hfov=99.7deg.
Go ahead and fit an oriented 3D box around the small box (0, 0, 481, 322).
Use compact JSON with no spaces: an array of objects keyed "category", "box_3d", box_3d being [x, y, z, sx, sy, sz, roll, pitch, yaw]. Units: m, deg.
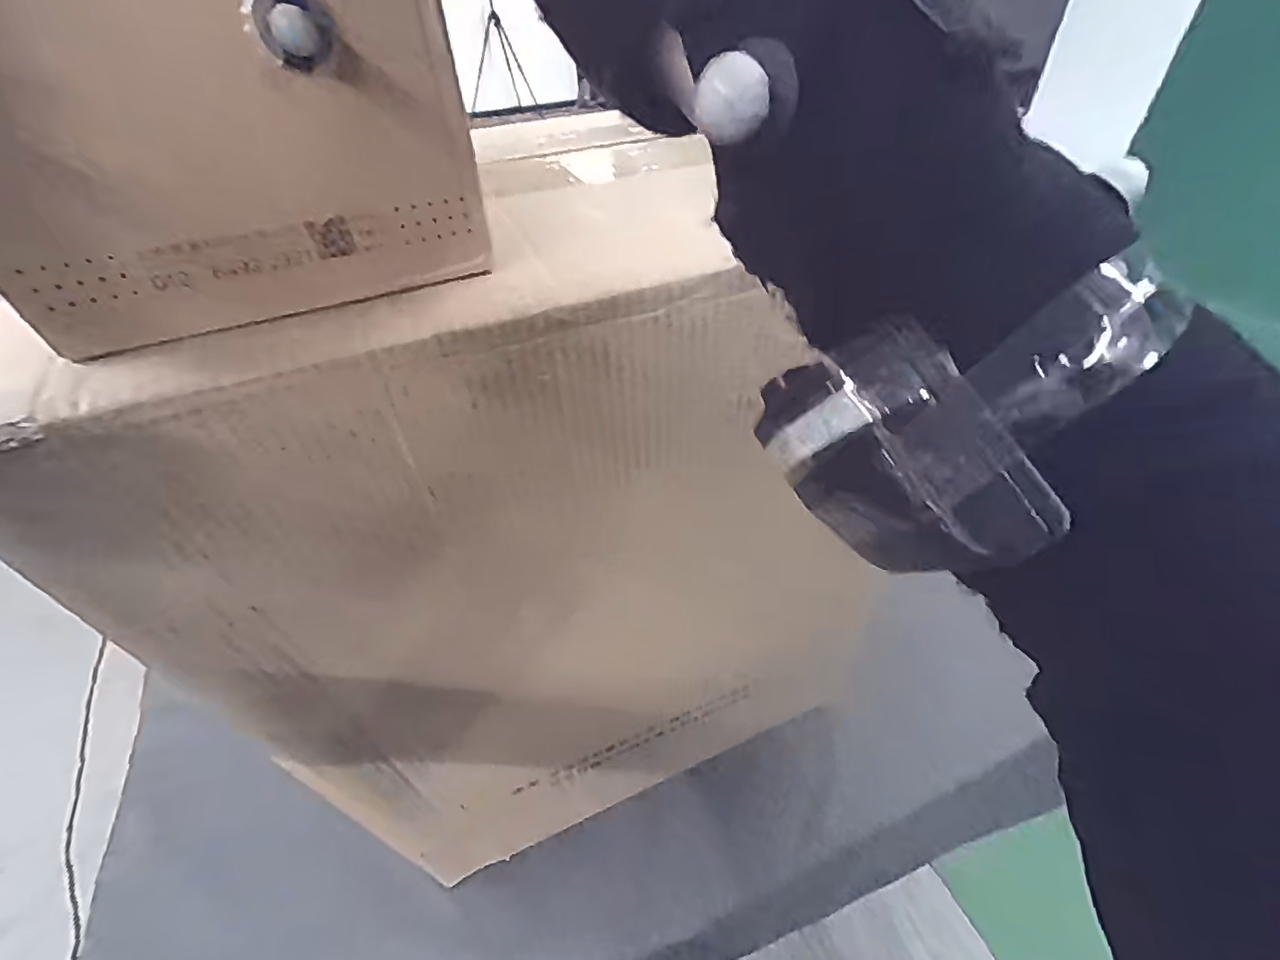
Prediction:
[{"category":"small box","box_3d":[-0.182,-0.183,0.219,0.168,0.176,0.179,-23,49,-18]}]
